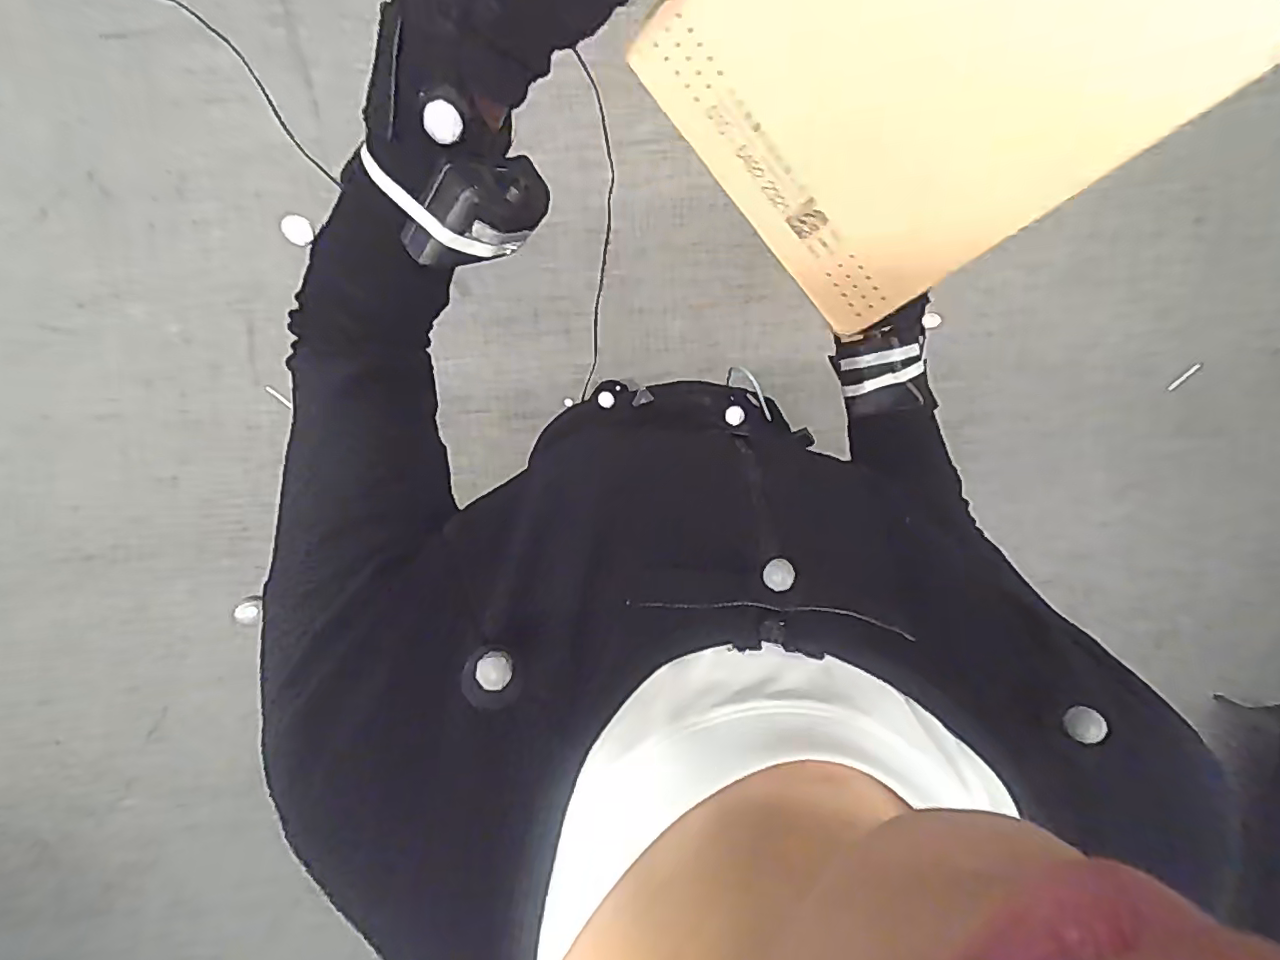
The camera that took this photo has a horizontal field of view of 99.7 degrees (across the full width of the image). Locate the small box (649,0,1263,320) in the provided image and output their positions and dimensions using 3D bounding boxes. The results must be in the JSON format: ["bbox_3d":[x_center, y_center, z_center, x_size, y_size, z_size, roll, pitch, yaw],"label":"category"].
[{"bbox_3d":[0.126,-0.217,0.273,0.168,0.179,0.176,44,128,-19],"label":"small box"}]
